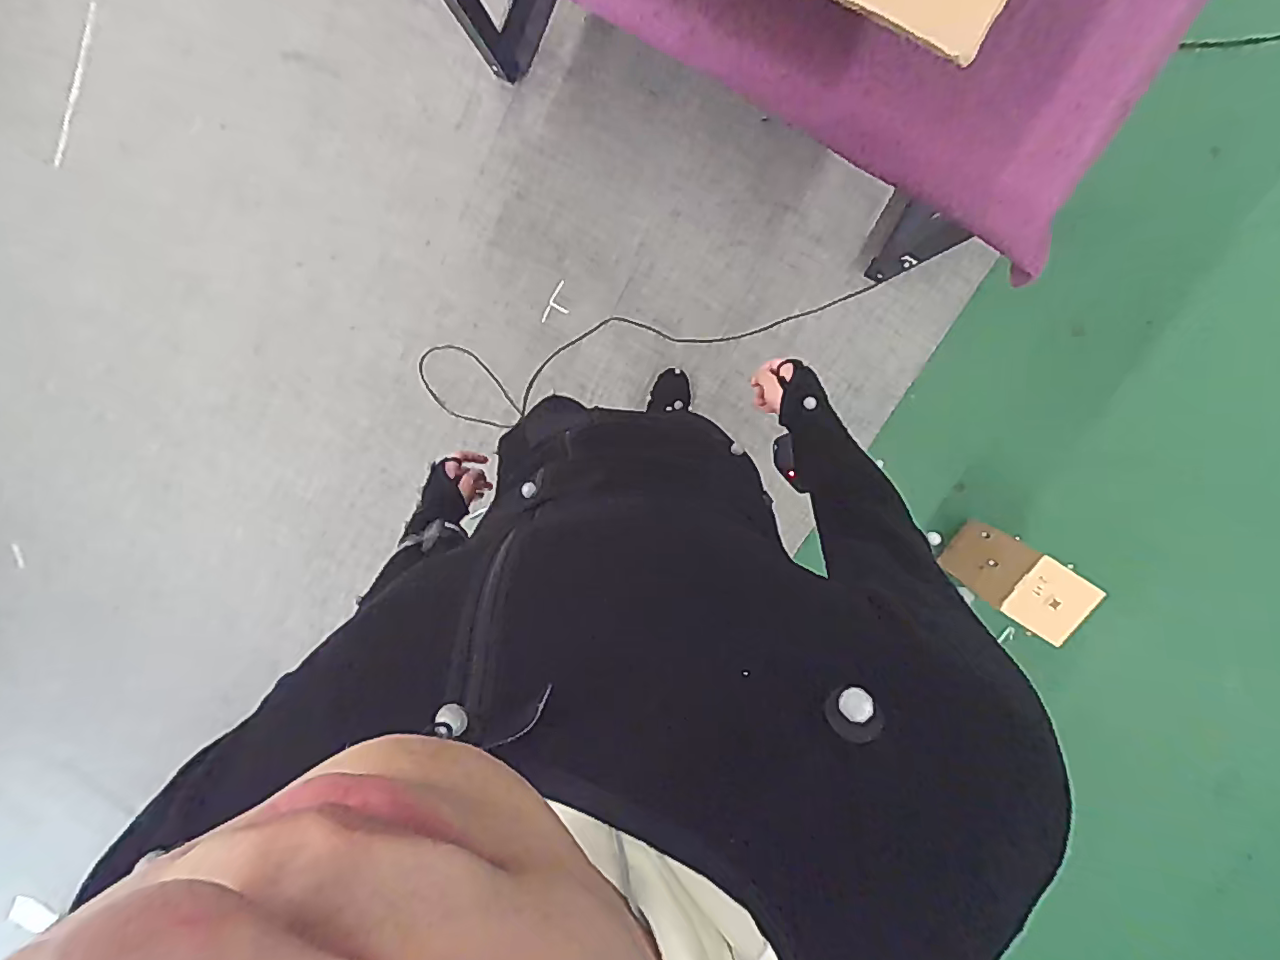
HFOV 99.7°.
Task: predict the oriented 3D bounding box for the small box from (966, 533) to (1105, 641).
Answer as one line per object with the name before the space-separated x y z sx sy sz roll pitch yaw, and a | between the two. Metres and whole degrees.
small box | 0.958 0.252 1.327 0.179 0.176 0.168 32 102 -2
